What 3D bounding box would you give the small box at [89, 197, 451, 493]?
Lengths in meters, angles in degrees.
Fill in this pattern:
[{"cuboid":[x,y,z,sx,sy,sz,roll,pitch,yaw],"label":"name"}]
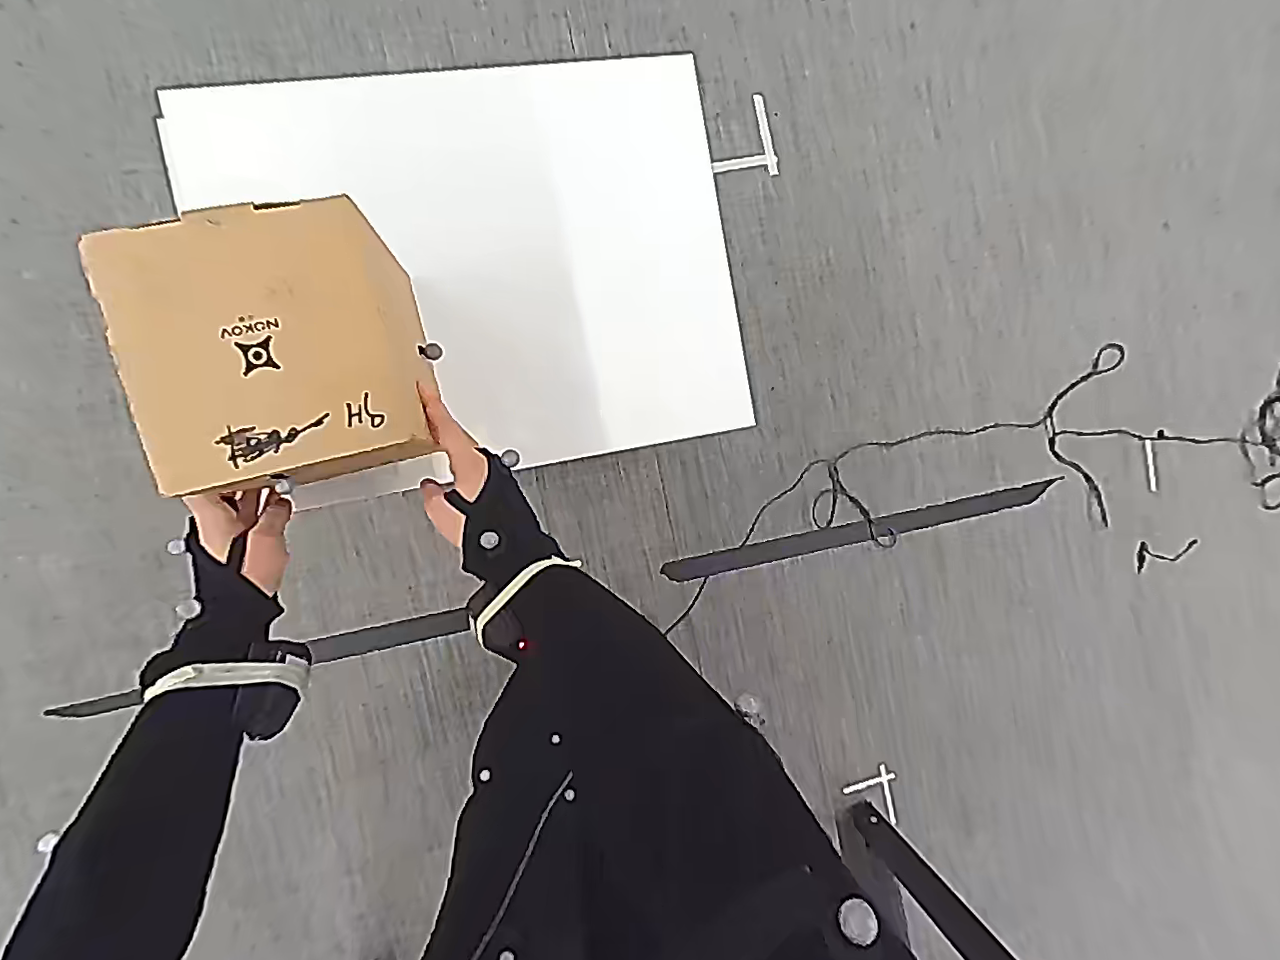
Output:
[{"cuboid":[-0.266,-0.092,0.439,0.168,0.176,0.179,-15,93,-9],"label":"small box"}]
